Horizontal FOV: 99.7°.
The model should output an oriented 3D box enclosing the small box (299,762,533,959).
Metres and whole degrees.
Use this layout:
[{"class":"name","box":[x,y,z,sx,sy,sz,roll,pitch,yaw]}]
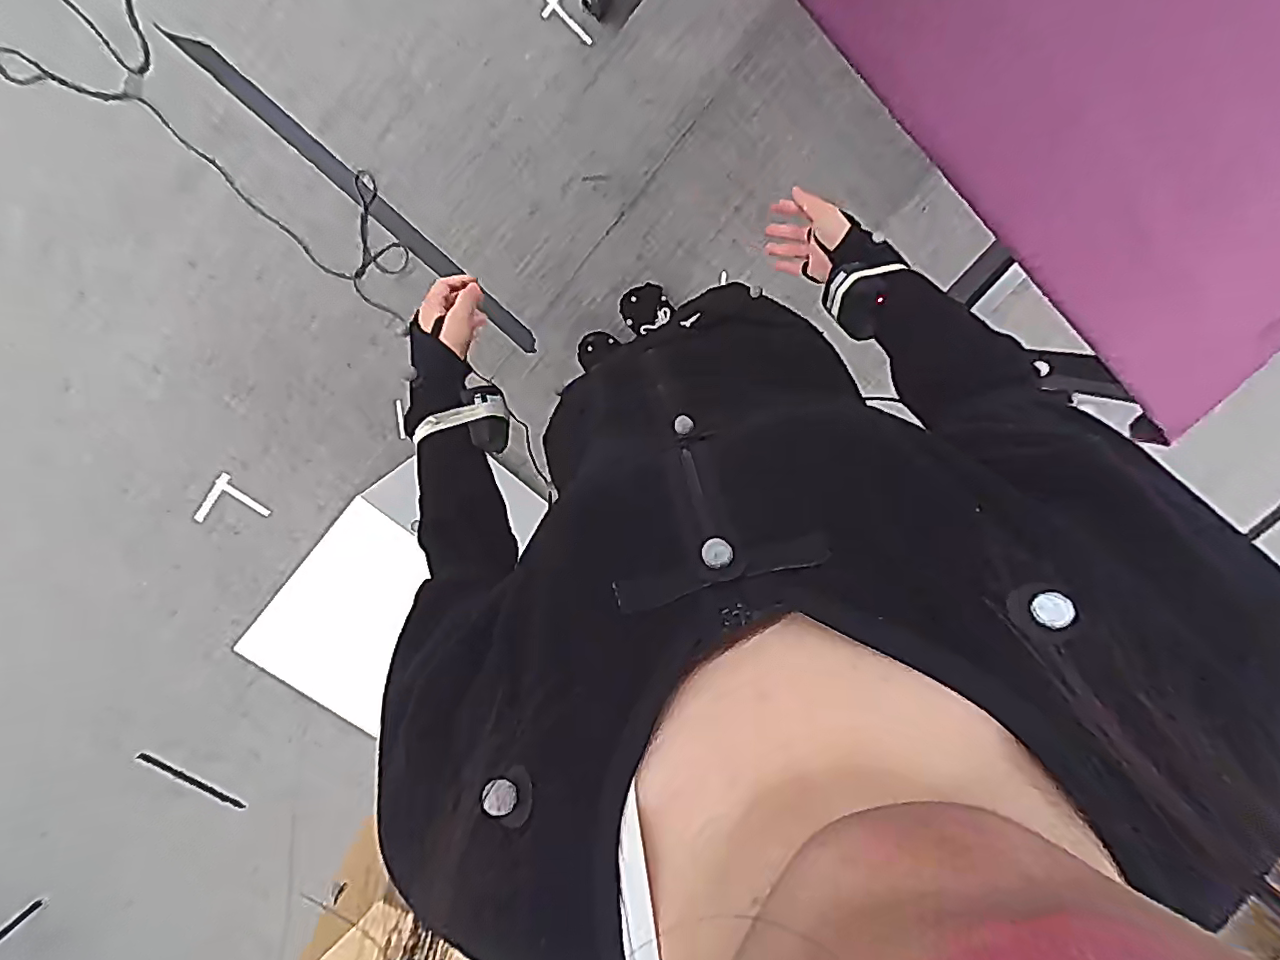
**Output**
[{"class":"small box","box":[-0.241,0.474,0.619,0.168,0.176,0.179,39,102,-14]}]
